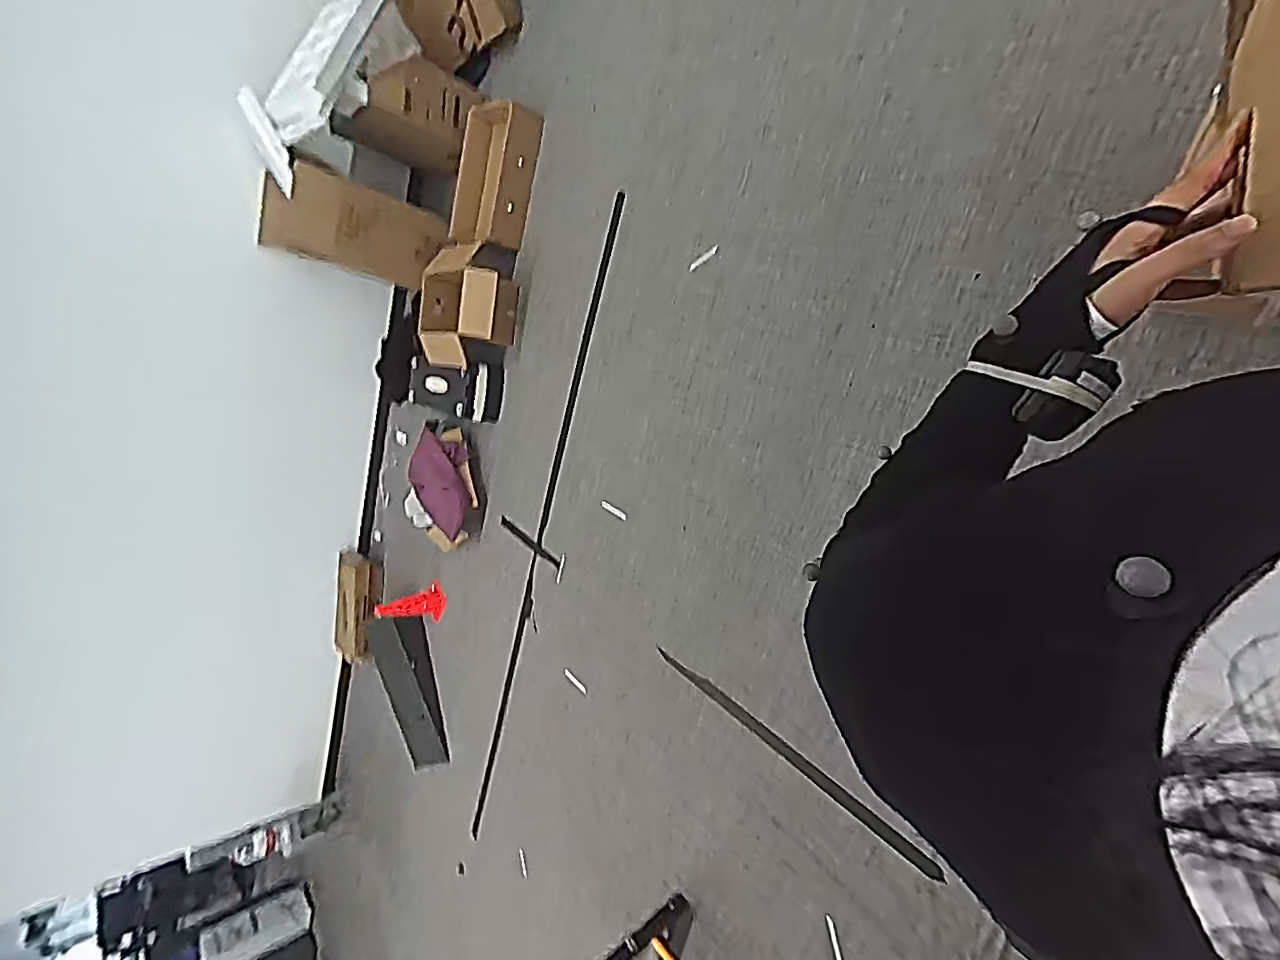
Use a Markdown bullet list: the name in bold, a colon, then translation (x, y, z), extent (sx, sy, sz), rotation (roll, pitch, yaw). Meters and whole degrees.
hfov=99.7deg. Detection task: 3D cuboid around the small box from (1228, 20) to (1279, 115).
- **small box**: translation (0.788, -0.532, 0.585), extent (0.168, 0.176, 0.179), rotation (30, 112, 41)
